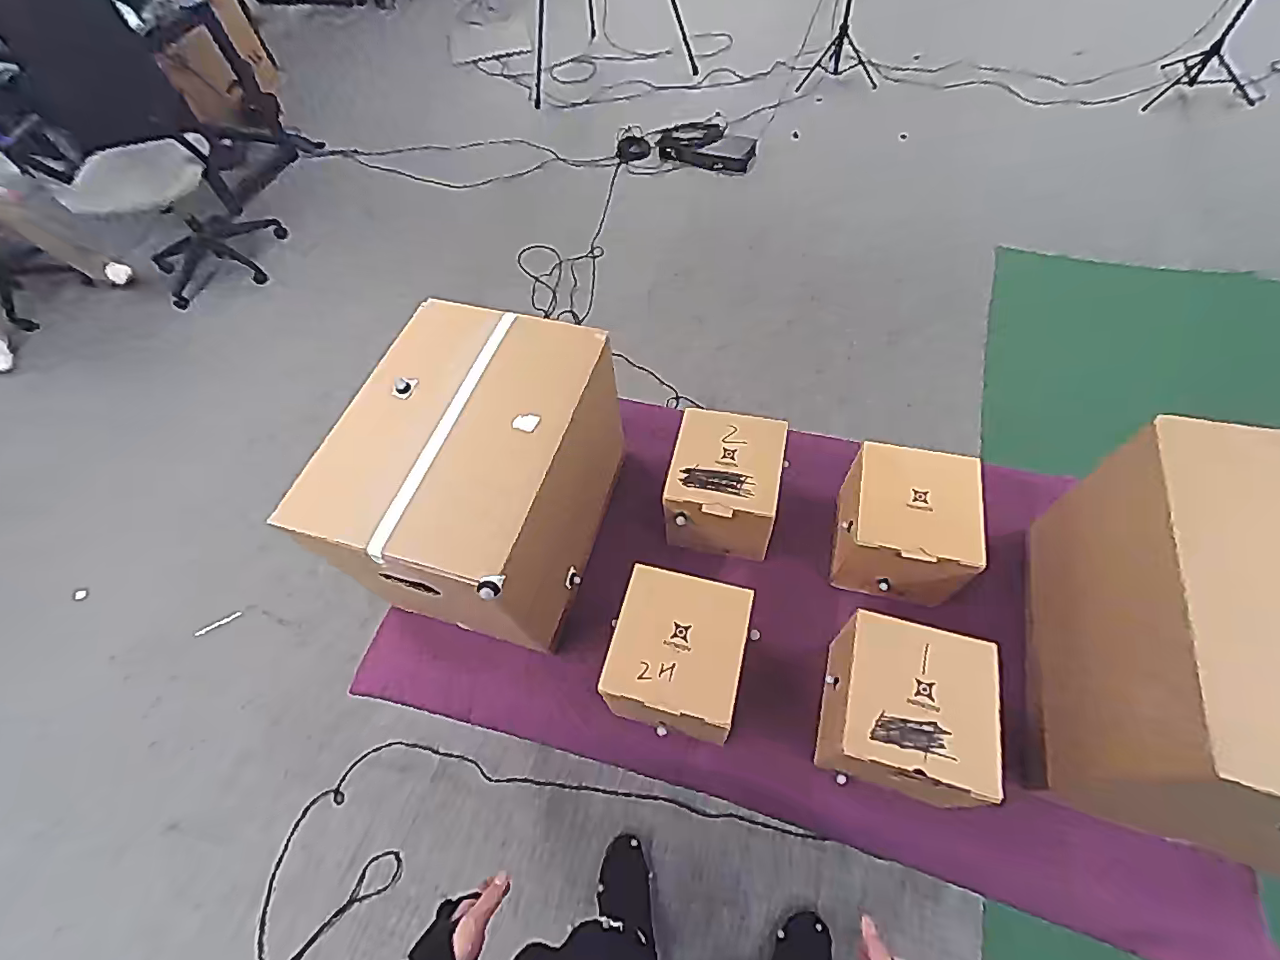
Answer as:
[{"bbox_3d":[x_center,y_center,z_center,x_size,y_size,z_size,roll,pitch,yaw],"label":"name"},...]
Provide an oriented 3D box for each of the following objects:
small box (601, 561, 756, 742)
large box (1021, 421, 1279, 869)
[{"bbox_3d":[0.056,0.240,0.749,0.168,0.176,0.179,12,59,12],"label":"small box"},{"bbox_3d":[0.703,0.200,0.642,0.320,0.320,0.408,13,61,14],"label":"large box"}]
